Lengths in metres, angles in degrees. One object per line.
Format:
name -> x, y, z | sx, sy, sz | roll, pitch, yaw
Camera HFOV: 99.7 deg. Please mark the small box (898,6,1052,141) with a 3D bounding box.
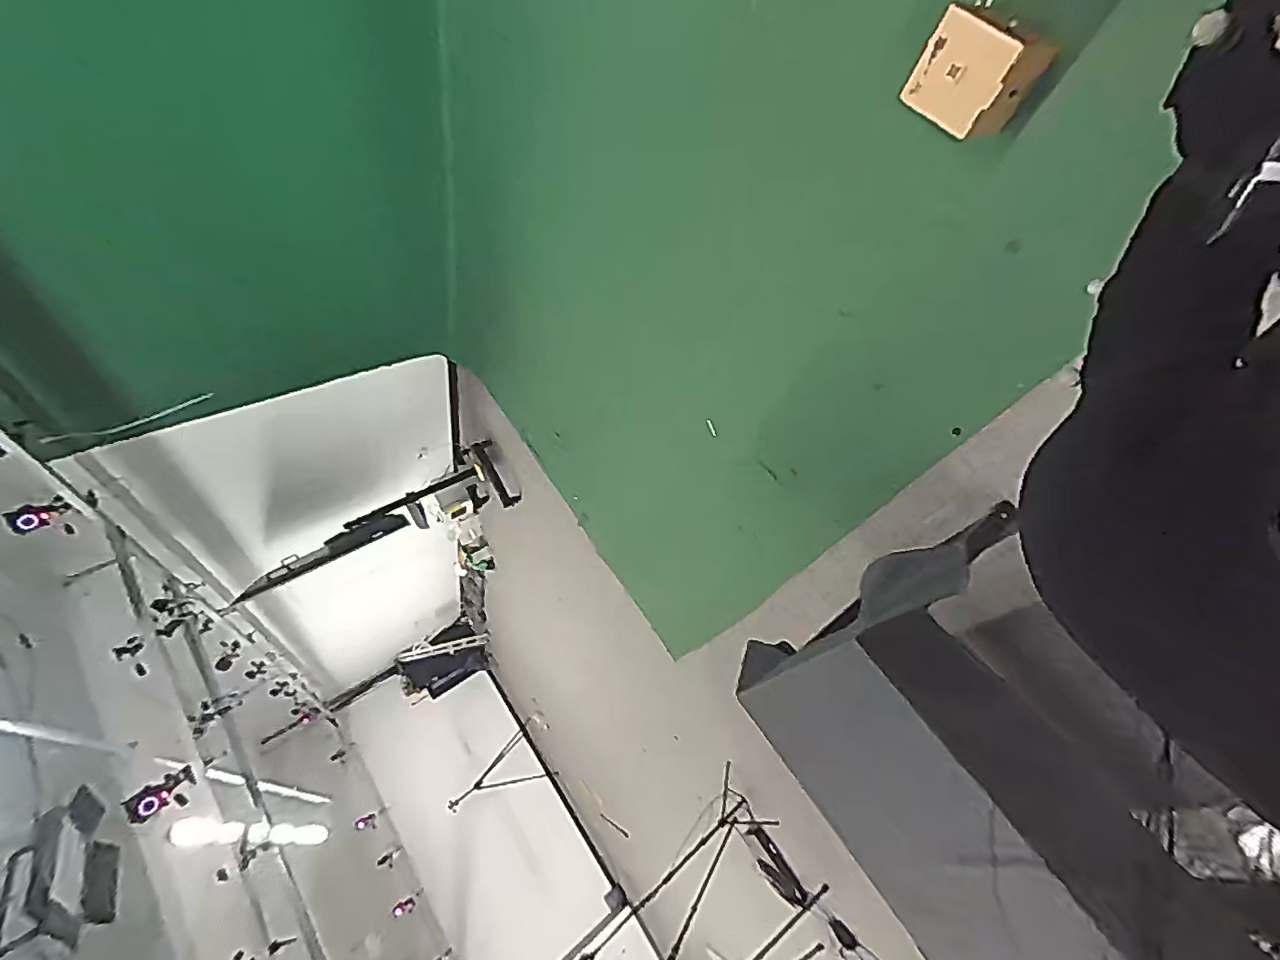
small box -> 0.684, -0.833, 1.106 | 0.179, 0.176, 0.168 | 50, 148, 18
